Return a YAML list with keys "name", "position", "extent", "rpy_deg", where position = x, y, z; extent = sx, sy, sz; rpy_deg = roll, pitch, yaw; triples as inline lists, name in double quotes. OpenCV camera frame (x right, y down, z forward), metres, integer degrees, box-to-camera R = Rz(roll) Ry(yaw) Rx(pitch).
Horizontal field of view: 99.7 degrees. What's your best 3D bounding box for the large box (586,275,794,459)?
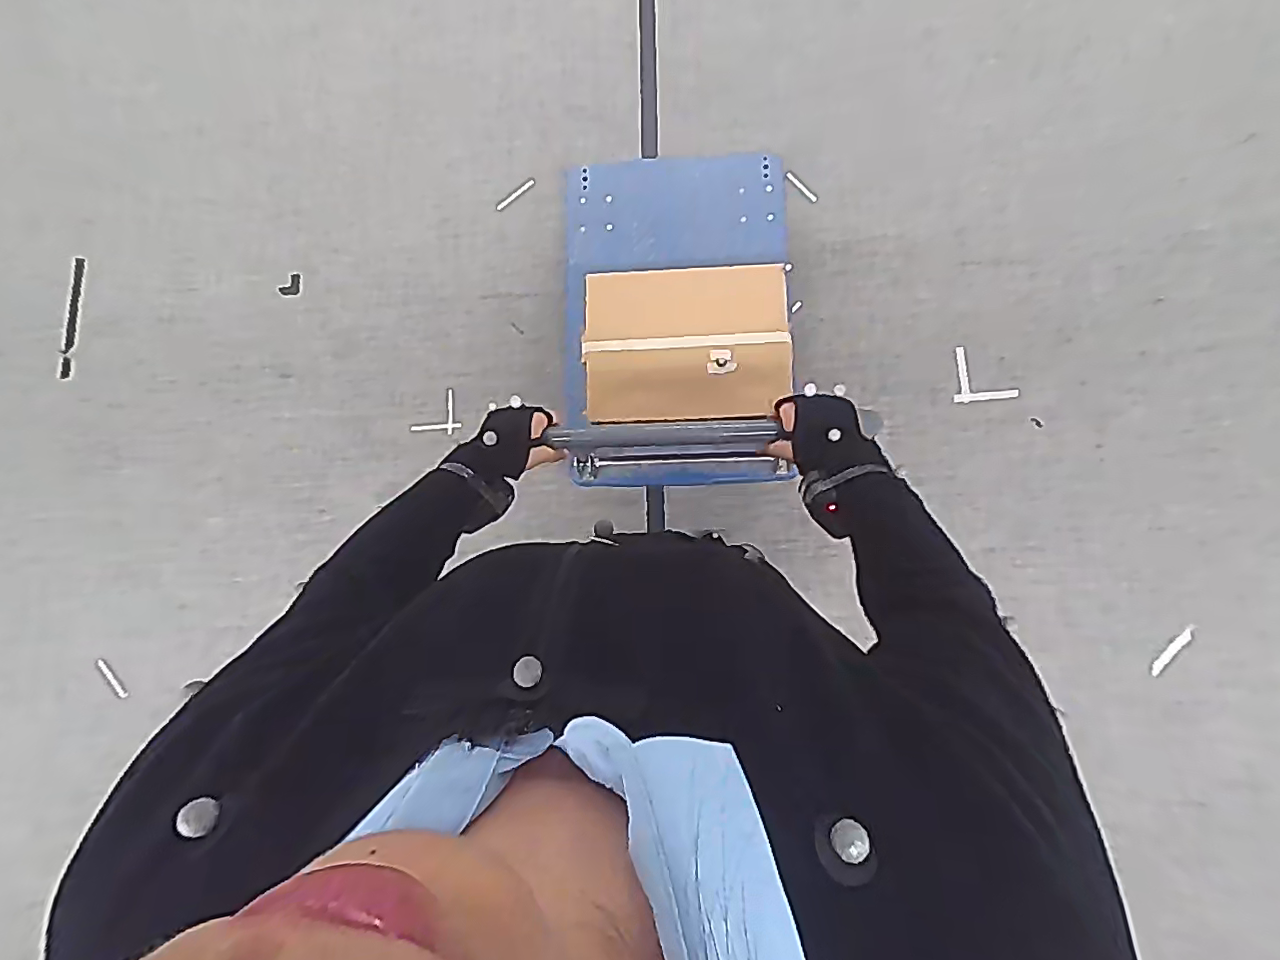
- name: "large box"
  position: [0.100, -0.230, 1.212]
  extent: [0.408, 0.320, 0.320]
  rpy_deg: [-2, 84, 3]
